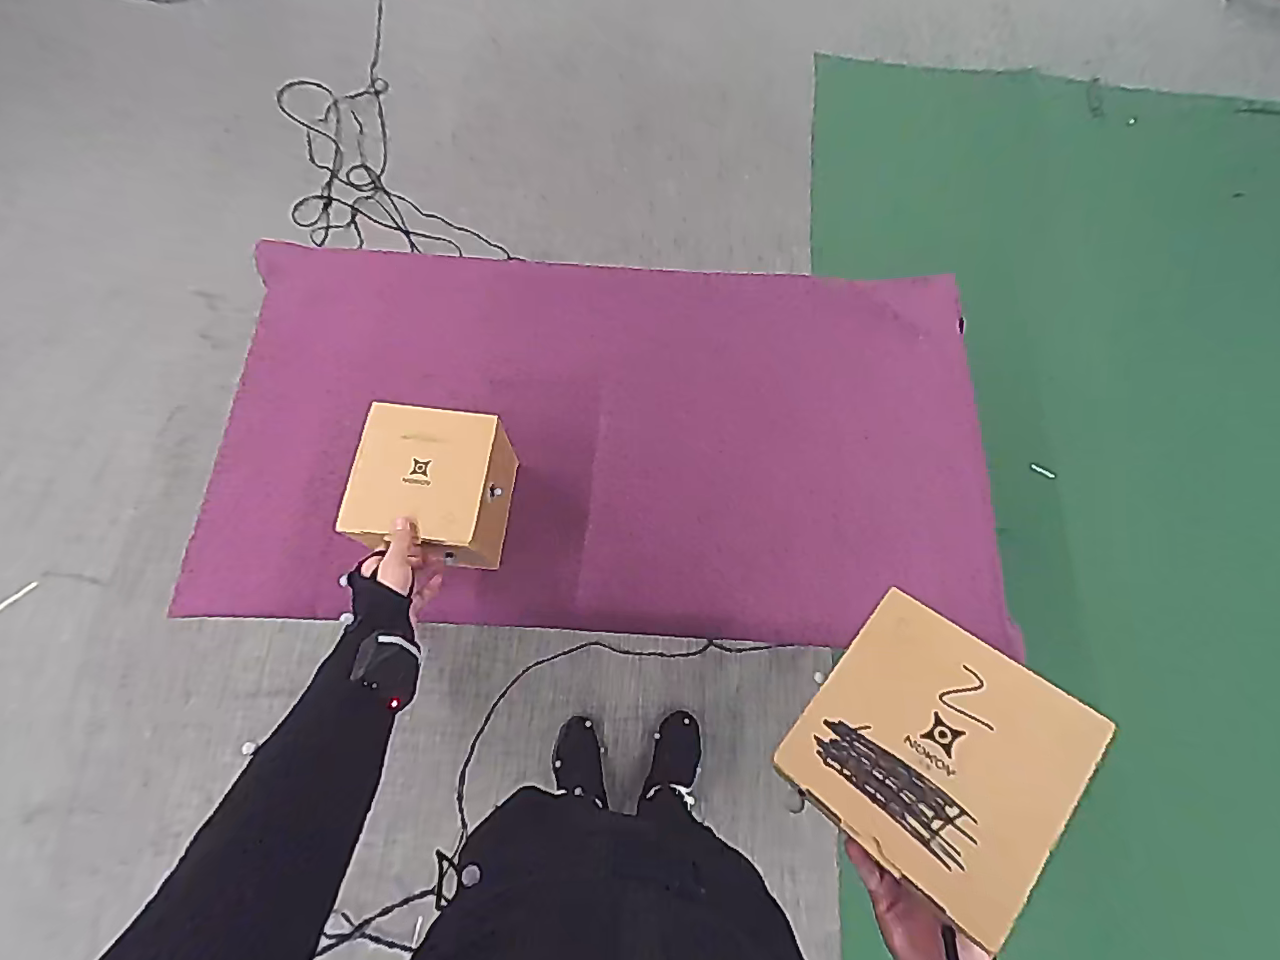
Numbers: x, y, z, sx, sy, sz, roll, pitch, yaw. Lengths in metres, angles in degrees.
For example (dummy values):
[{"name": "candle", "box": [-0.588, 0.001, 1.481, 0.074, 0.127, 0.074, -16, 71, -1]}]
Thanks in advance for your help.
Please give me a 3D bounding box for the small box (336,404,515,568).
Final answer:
[{"name": "small box", "box": [-0.279, 0.018, 0.752, 0.168, 0.176, 0.179, 7, 69, 0]}]
